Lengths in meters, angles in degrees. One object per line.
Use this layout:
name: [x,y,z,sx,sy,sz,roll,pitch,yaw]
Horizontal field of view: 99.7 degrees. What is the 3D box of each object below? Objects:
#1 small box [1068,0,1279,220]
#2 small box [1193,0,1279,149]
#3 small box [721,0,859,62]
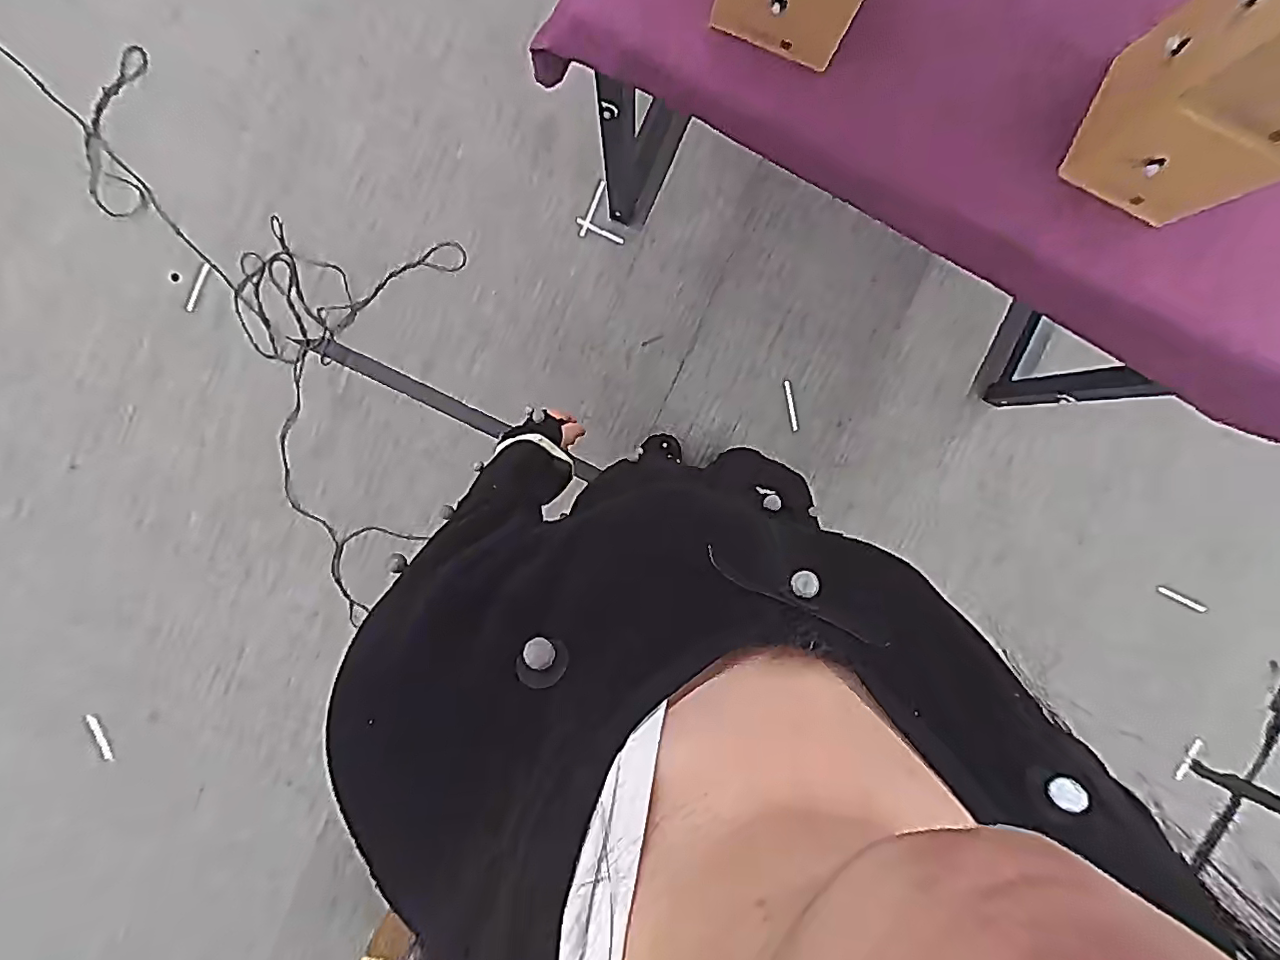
small box: [0.685,-0.457,0.664,0.168,0.176,0.179,25,94,-3]
small box: [0.690,-0.446,0.500,0.168,0.176,0.179,26,94,-3]
small box: [0.204,-0.651,0.634,0.168,0.176,0.179,21,94,-3]
